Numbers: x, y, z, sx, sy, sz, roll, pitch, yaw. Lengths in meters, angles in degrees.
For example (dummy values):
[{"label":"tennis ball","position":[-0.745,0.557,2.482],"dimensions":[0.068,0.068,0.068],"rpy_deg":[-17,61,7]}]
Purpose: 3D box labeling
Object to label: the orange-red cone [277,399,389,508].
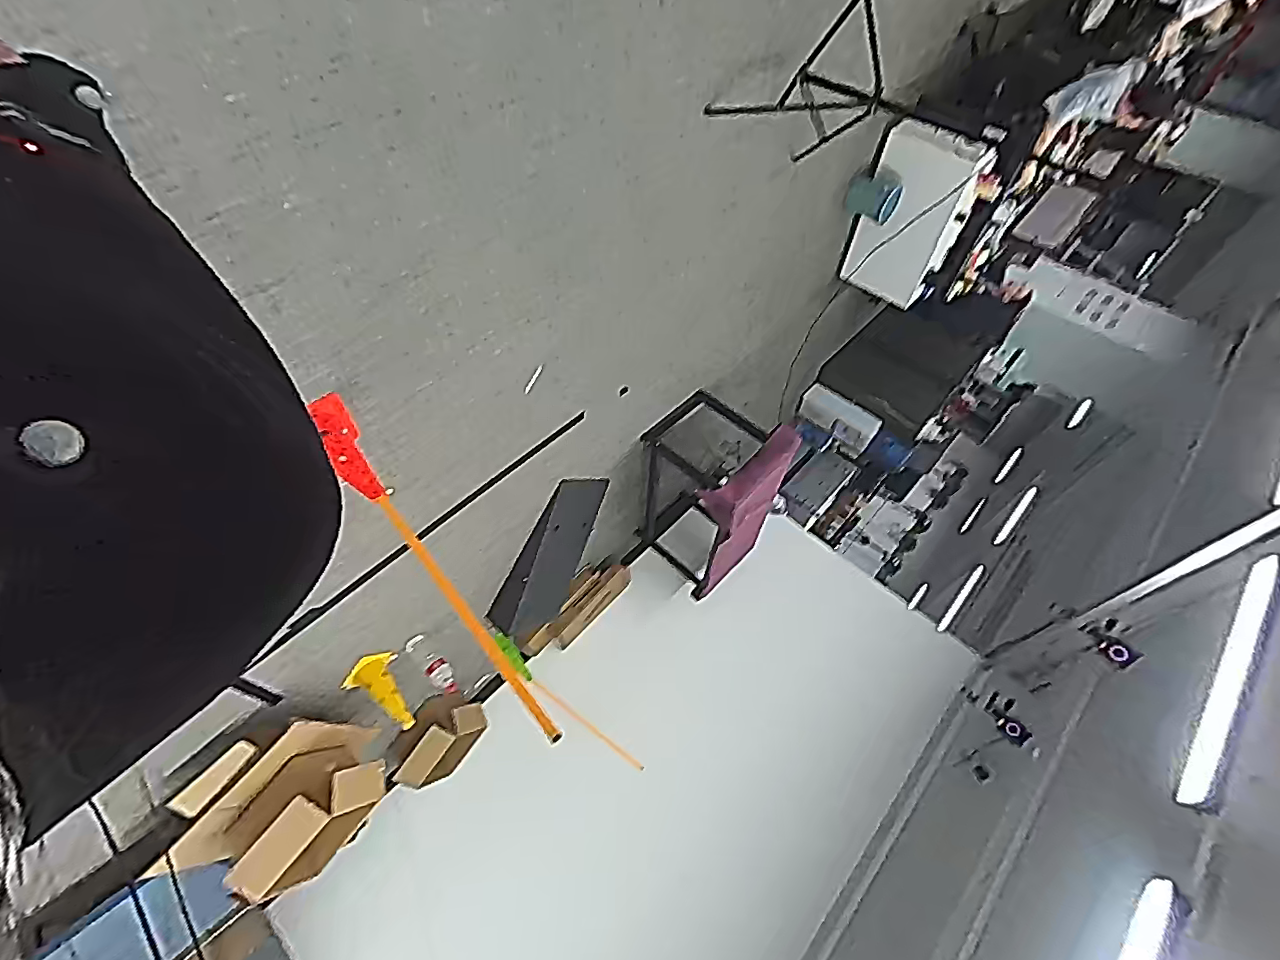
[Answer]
[{"label":"orange-red cone","position":[-0.832,-0.038,1.552],"dimensions":[0.198,0.360,0.199],"rpy_deg":[-38,155,-28]}]
